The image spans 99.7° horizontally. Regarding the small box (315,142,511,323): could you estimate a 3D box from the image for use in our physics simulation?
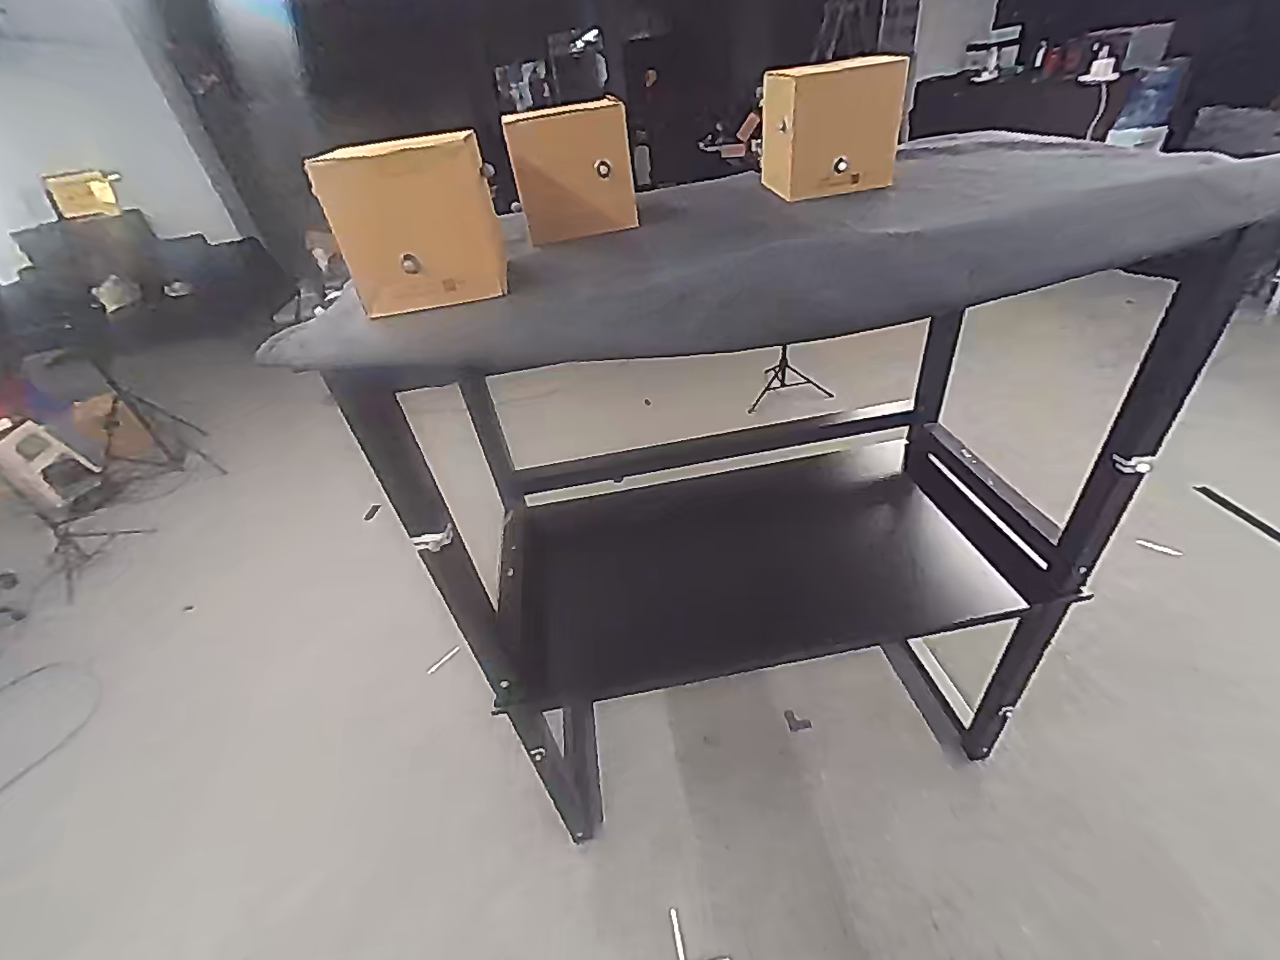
[{"bbox_3d":[-0.264,-0.313,0.678,0.168,0.176,0.179,-12,37,-5],"label":"small box"}]

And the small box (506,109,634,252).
[{"bbox_3d":[-0.109,-0.483,0.871,0.179,0.176,0.168,-12,37,-5],"label":"small box"}]
